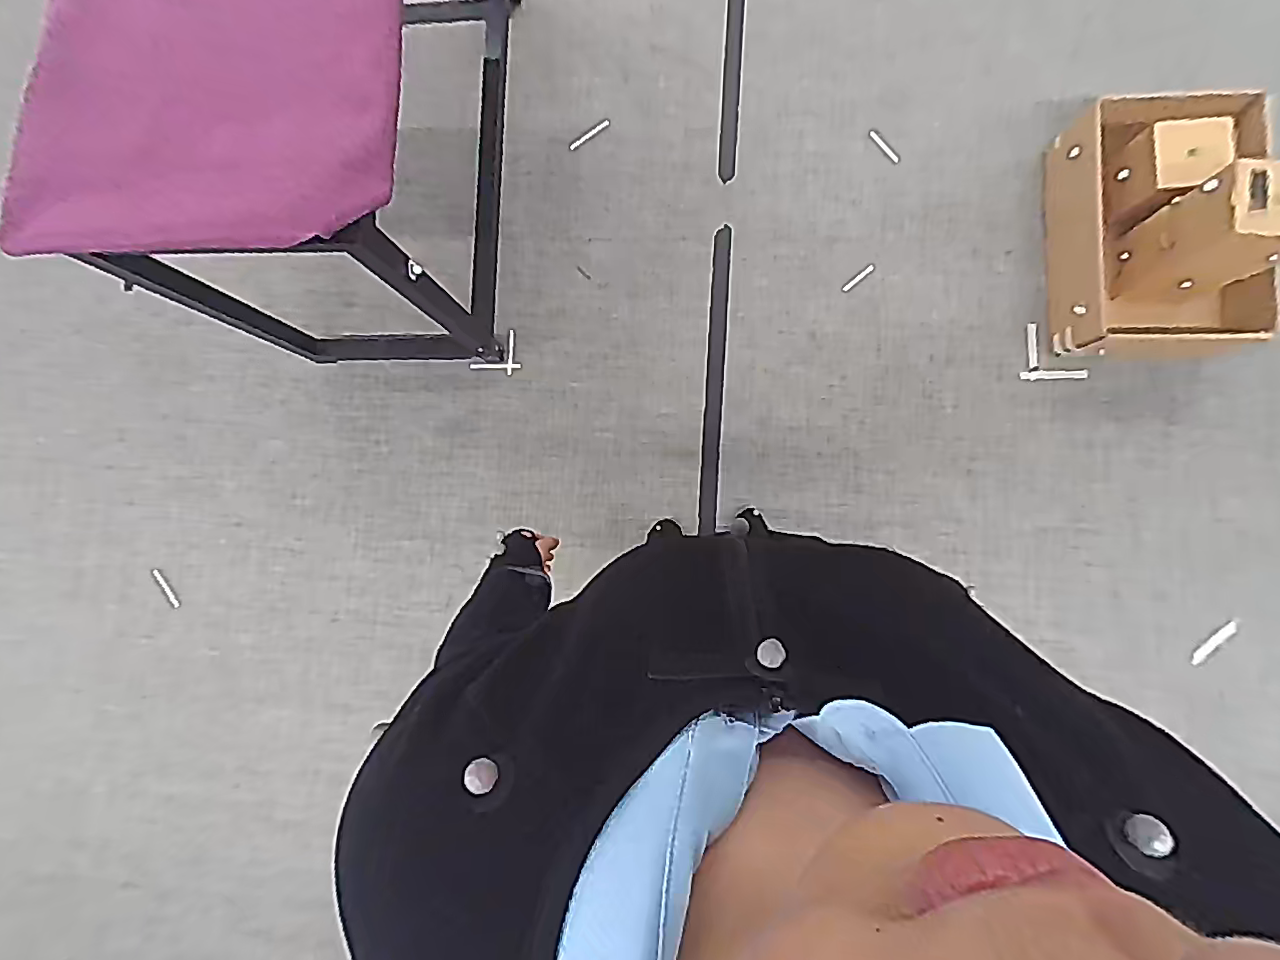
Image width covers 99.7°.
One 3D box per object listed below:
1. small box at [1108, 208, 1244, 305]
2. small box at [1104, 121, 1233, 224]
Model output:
[{"bbox_3d":[1.330,-0.550,1.350,0.179,0.176,0.168,6,84,6],"label":"small box"},{"bbox_3d":[1.316,-0.766,1.362,0.179,0.176,0.168,0,88,5],"label":"small box"}]
